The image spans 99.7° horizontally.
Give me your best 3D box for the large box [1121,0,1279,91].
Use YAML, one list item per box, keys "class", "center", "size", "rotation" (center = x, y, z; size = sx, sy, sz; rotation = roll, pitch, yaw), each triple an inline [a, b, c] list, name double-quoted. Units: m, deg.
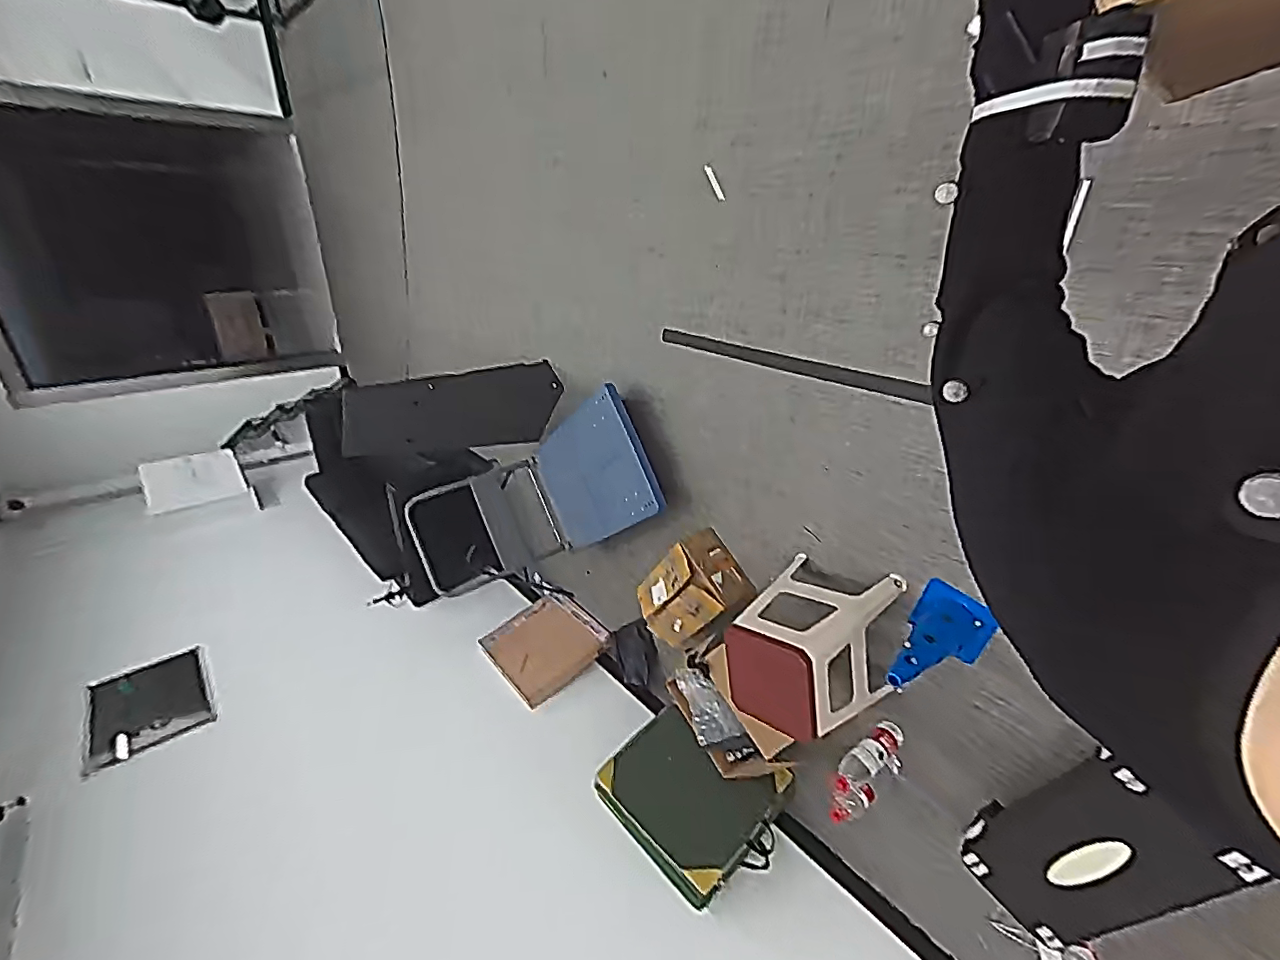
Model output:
- class: "large box"
  center: [0.508, -0.477, 0.255]
  size: [0.408, 0.320, 0.320]
  rotation: [3, 108, 50]
